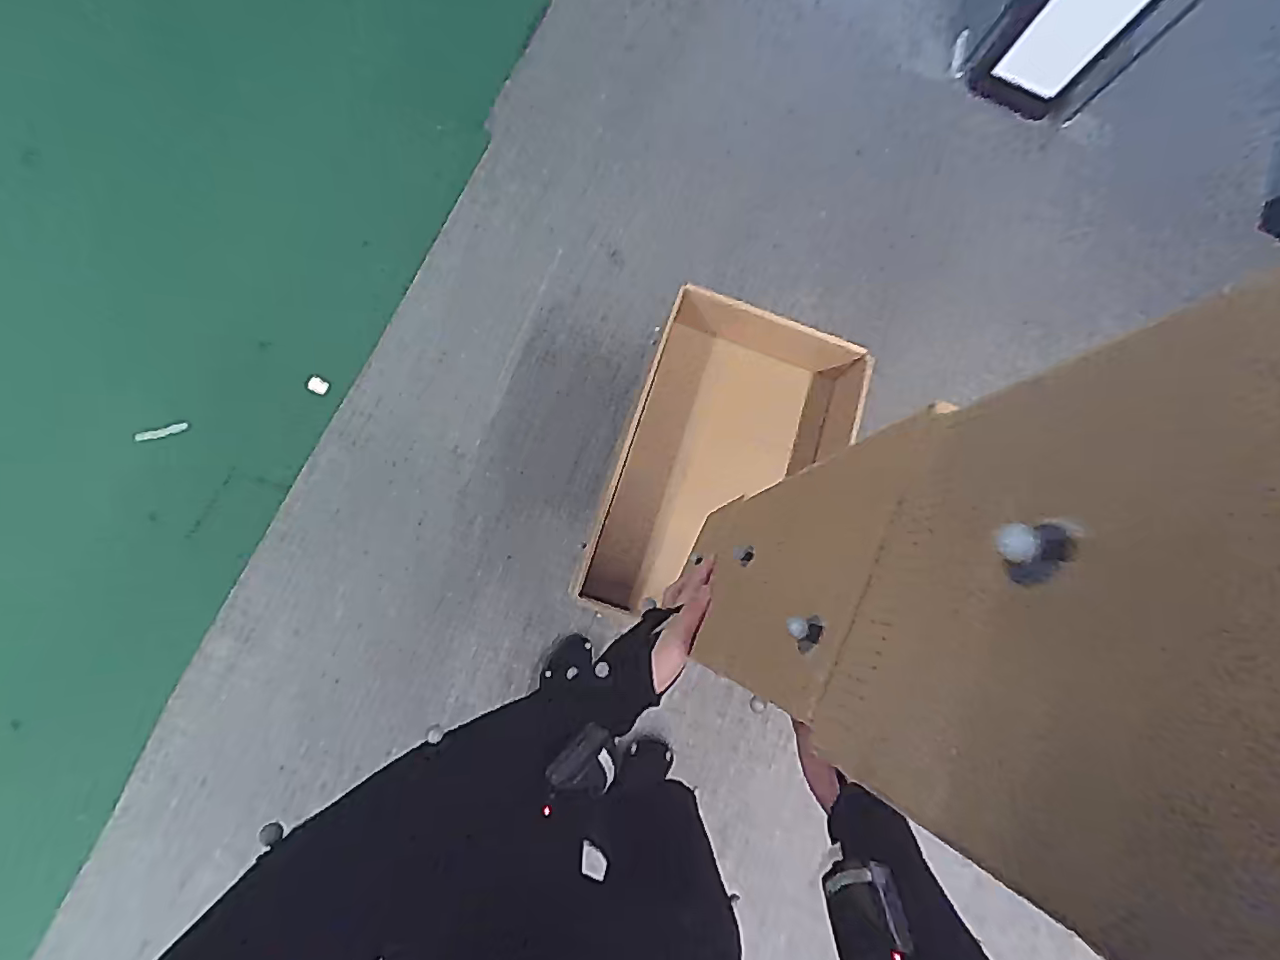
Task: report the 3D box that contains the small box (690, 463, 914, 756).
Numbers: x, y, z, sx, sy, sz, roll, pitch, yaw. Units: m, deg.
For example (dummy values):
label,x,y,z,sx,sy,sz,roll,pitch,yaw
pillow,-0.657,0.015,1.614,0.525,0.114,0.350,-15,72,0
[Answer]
label,x,y,z,sx,sy,sz,roll,pitch,yaw
small box,0.162,0.110,0.498,0.168,0.176,0.179,27,77,-2

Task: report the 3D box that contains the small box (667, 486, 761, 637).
label,x,y,z,sx,sy,sz,roll,pitch,yaw
small box,0.144,0.132,0.660,0.168,0.176,0.179,27,76,-2
